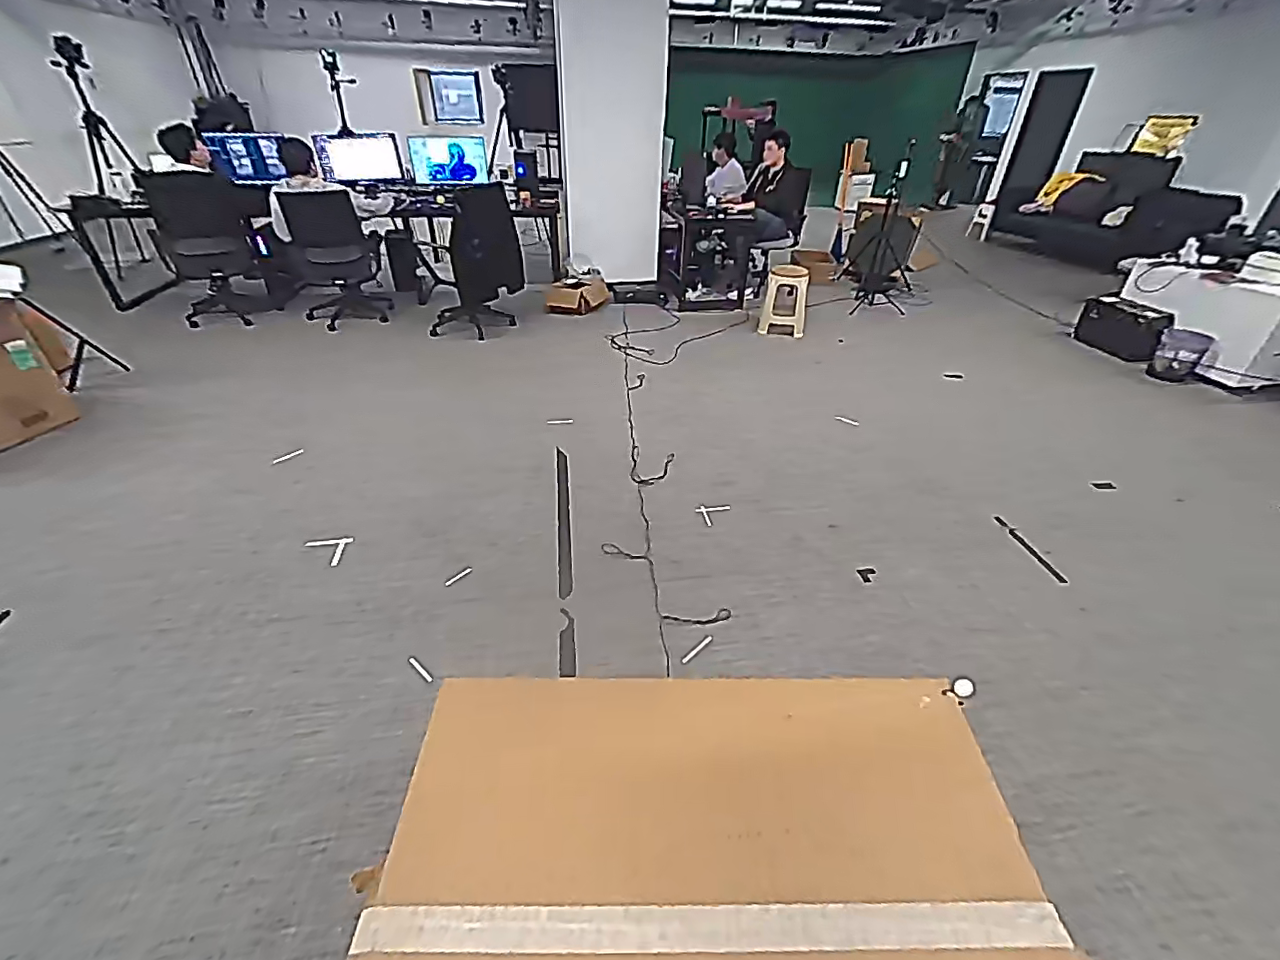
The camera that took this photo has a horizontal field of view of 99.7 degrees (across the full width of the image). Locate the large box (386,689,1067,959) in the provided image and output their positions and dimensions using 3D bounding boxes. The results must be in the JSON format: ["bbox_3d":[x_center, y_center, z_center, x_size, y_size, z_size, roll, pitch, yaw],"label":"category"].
[{"bbox_3d":[0.047,0.384,0.417,0.408,0.320,0.320,0,42,-1],"label":"large box"}]
